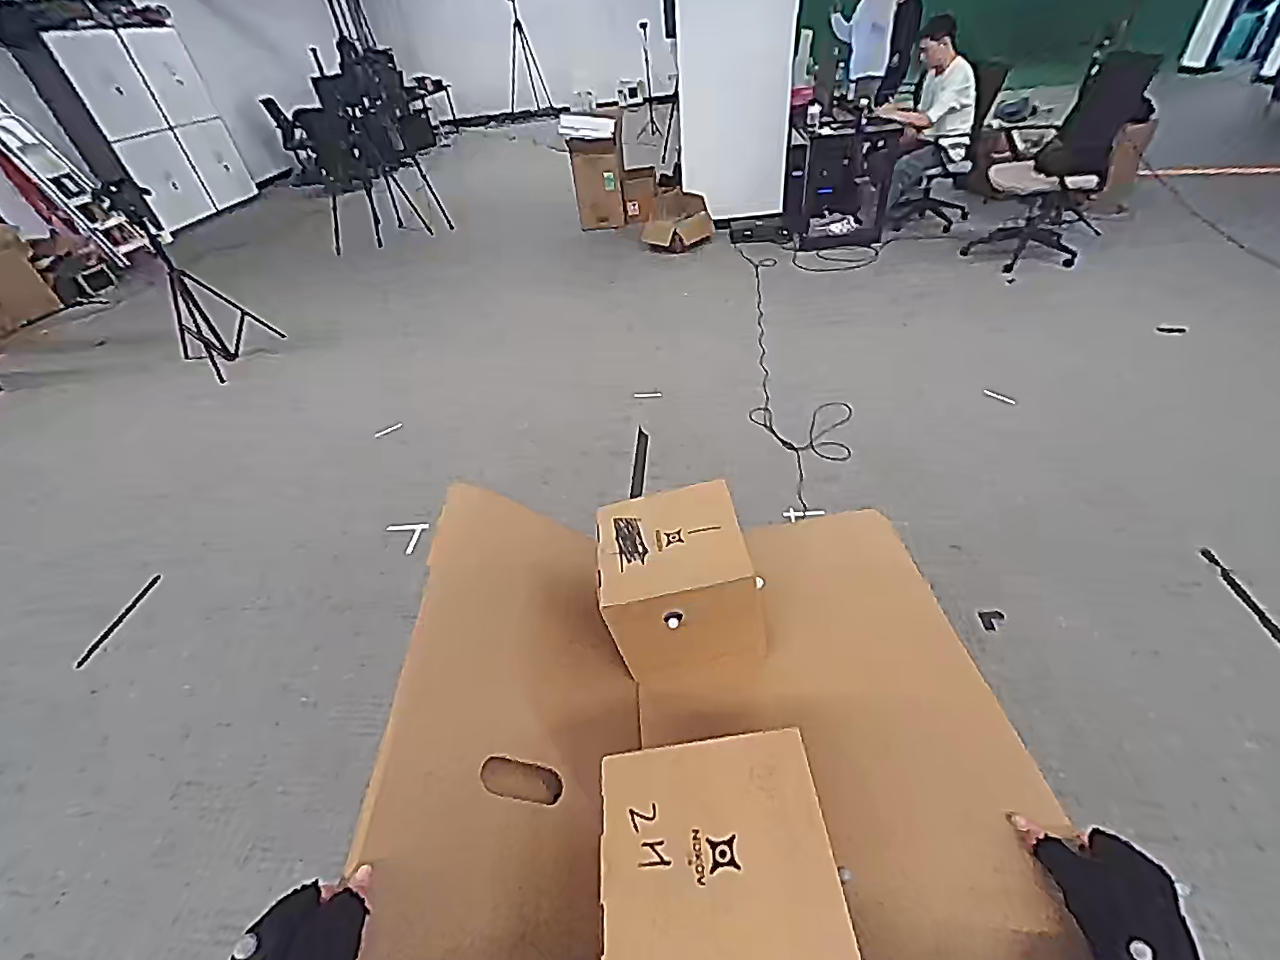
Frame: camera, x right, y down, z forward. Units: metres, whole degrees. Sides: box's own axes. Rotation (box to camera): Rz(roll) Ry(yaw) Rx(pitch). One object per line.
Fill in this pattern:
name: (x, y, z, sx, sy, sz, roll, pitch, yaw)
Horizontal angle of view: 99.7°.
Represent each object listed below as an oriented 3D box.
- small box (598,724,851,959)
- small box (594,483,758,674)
small box: (0.070, 0.340, 0.473, 0.179, 0.176, 0.168, -12, 40, 7)
small box: (0.047, 0.134, 0.717, 0.179, 0.176, 0.168, -13, 40, 5)
